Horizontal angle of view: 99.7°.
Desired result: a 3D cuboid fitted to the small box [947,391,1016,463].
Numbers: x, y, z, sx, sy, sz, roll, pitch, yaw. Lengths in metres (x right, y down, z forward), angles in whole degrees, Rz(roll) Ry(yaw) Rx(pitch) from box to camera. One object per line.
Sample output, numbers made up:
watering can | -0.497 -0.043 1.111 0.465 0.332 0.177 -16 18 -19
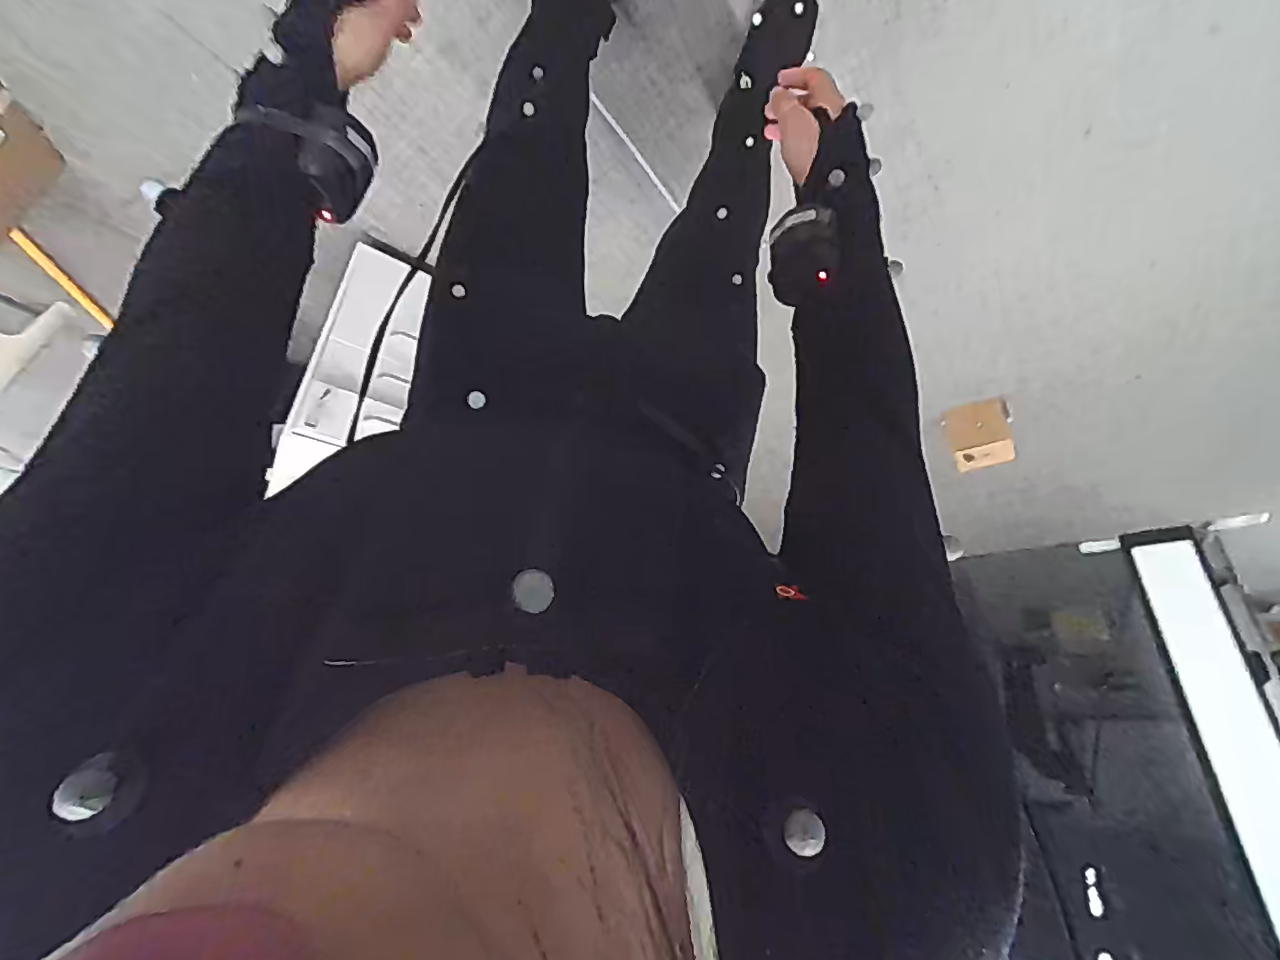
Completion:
small box | 1.200 -0.186 1.905 0.179 0.176 0.168 -15 149 32
